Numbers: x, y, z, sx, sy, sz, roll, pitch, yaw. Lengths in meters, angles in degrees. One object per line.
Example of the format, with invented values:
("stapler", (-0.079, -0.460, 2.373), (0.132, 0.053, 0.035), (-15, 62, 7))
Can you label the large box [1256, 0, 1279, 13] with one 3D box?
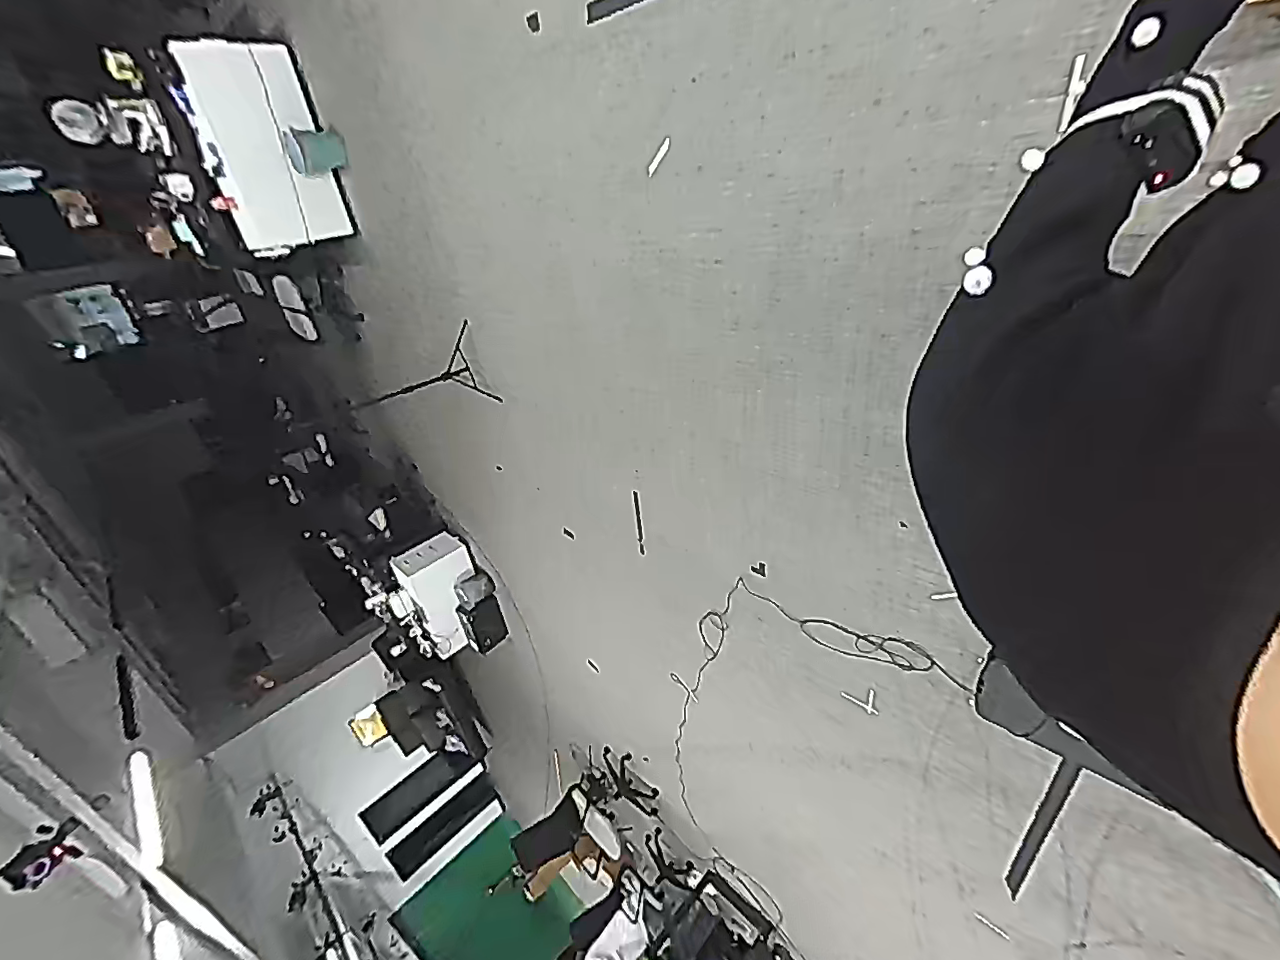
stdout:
("large box", (0.992, -0.752, 0.566), (0.408, 0.320, 0.320), (21, 131, 40))
